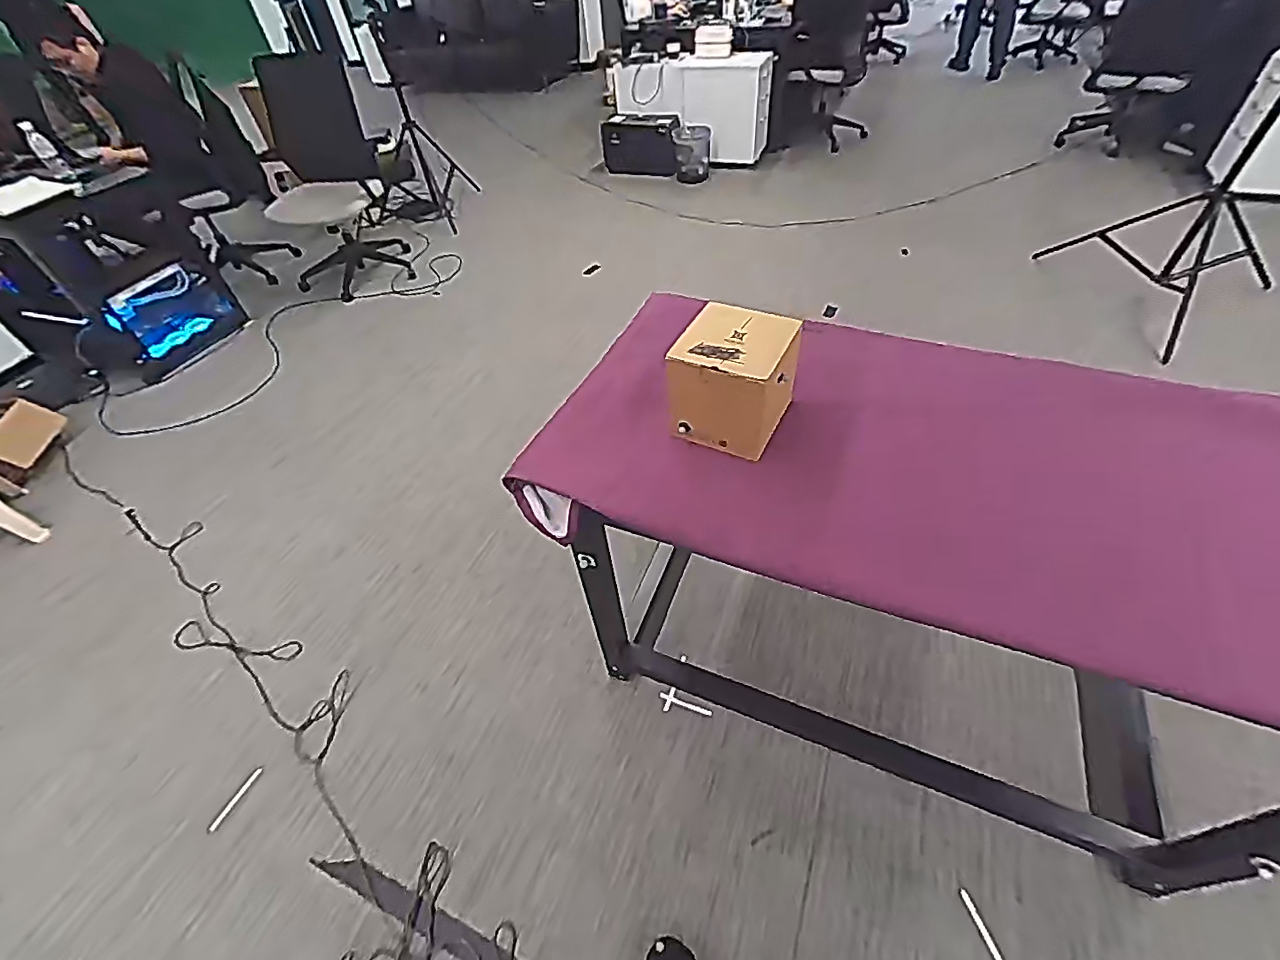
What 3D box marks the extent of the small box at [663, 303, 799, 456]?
[{"bbox_3d":[0.153,-0.168,0.913,0.168,0.176,0.179,20,52,21],"label":"small box"}]
